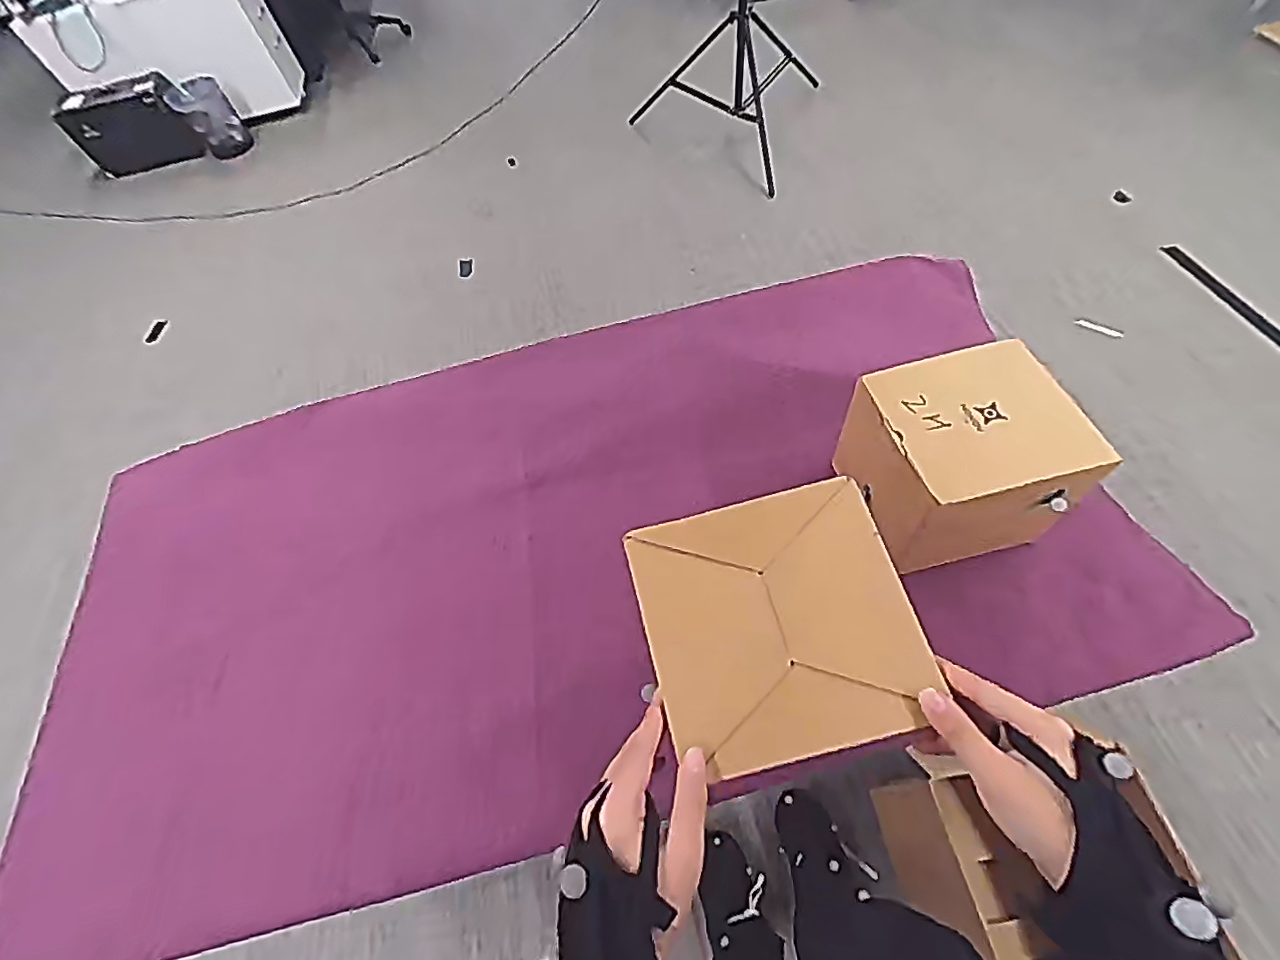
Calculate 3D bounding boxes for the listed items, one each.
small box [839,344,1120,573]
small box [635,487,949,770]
[{"bbox_3d":[0.345,-0.017,0.596,0.179,0.176,0.168,-13,56,-1],"label":"small box"},{"bbox_3d":[0.099,0.122,0.435,0.179,0.176,0.168,-14,66,-2],"label":"small box"}]
